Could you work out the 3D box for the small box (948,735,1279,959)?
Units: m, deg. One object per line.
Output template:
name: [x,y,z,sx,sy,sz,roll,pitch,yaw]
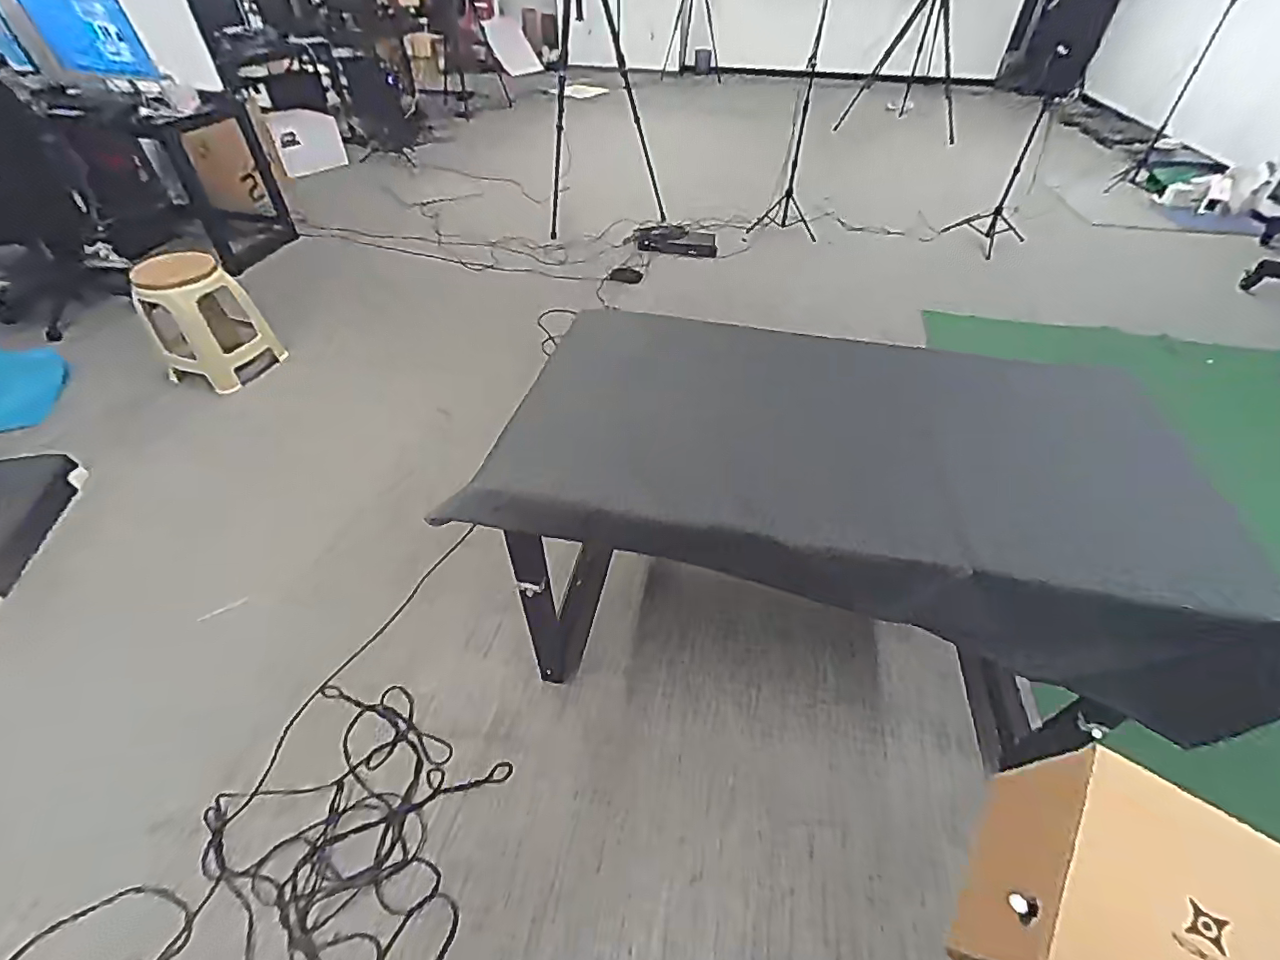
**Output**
small box: [0.380,0.342,0.430,0.168,0.176,0.179,29,62,21]
